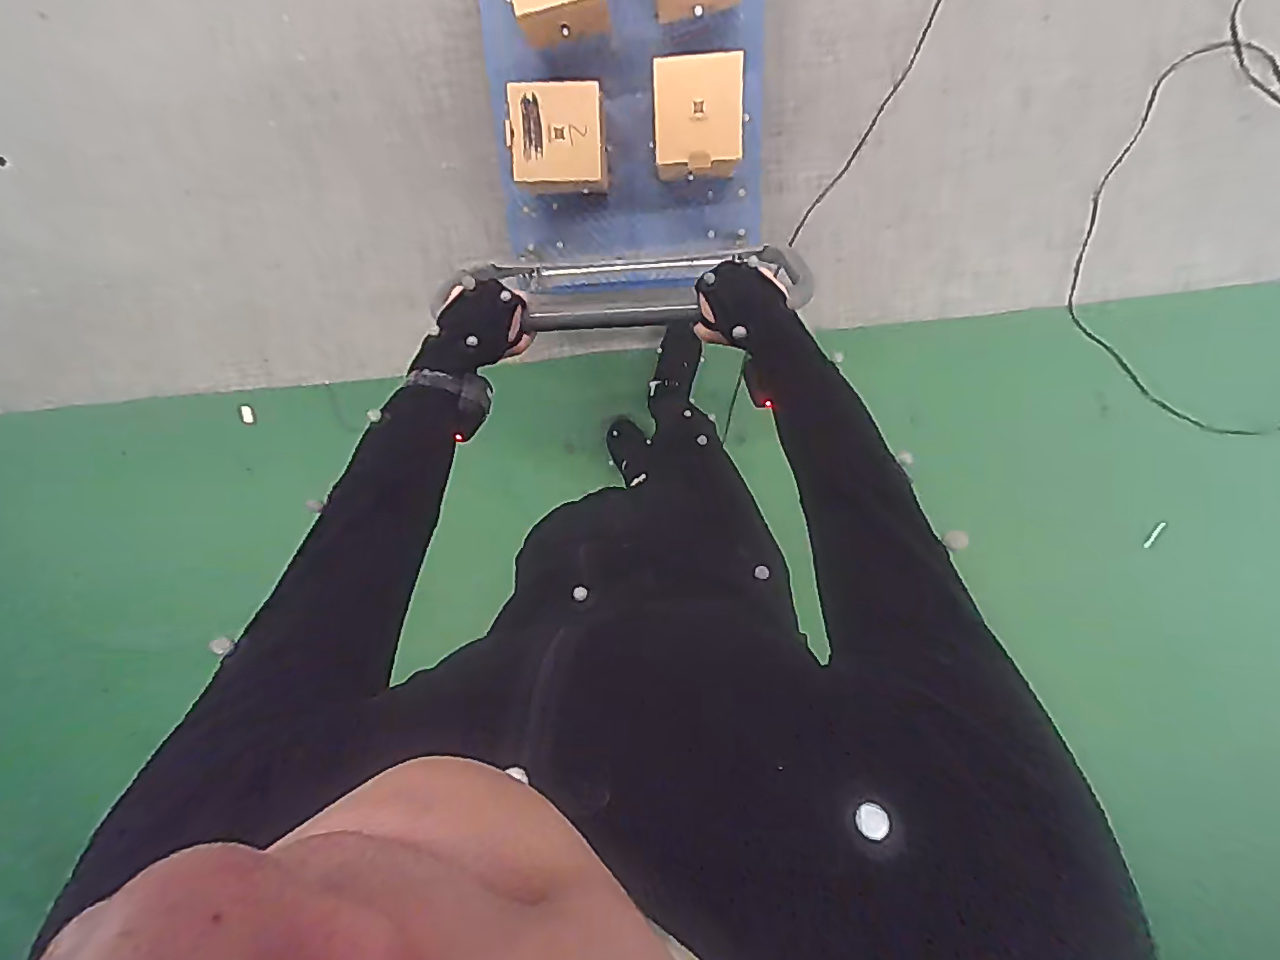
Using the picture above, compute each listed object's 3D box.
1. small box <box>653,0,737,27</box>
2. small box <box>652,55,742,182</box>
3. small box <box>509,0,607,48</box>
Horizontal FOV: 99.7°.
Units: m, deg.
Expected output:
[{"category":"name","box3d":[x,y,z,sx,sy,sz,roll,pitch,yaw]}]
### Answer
[{"category":"small box","box3d":[0.096,-0.987,0.992,0.168,0.176,0.179,-9,110,6]},{"category":"small box","box3d":[0.110,-0.718,1.092,0.168,0.176,0.179,-2,110,3]},{"category":"small box","box3d":[-0.161,-0.950,1.014,0.168,0.176,0.179,-10,109,5]}]
